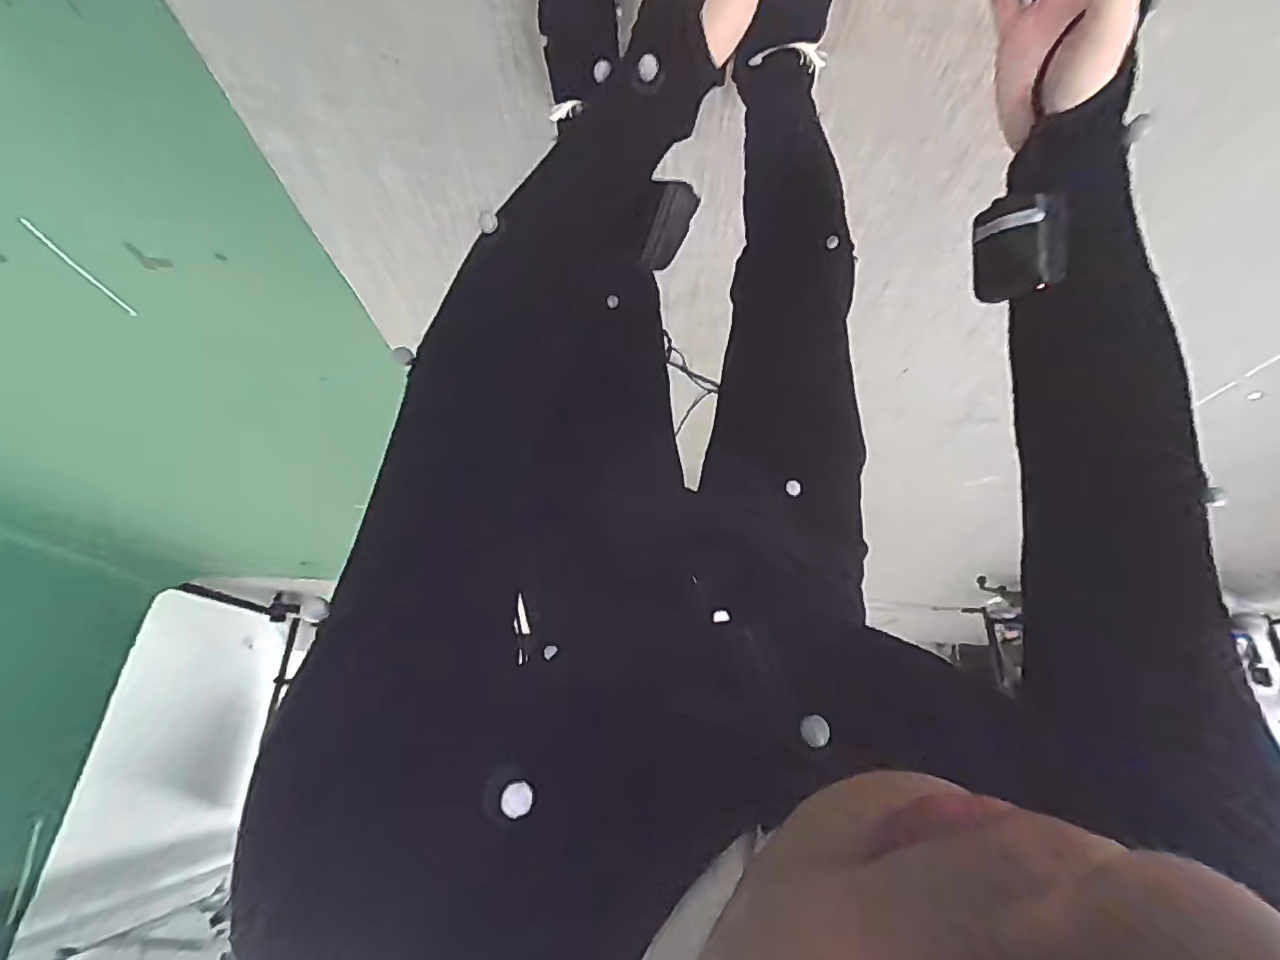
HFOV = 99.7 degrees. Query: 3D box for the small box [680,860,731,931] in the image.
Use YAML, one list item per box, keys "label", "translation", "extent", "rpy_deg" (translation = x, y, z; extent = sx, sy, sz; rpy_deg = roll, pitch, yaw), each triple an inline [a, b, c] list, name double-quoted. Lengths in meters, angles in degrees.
- label: "small box"
  translation: [0.235, 1.511, 1.975]
  extent: [0.179, 0.176, 0.168]
  rpy_deg: [1, 156, 5]
